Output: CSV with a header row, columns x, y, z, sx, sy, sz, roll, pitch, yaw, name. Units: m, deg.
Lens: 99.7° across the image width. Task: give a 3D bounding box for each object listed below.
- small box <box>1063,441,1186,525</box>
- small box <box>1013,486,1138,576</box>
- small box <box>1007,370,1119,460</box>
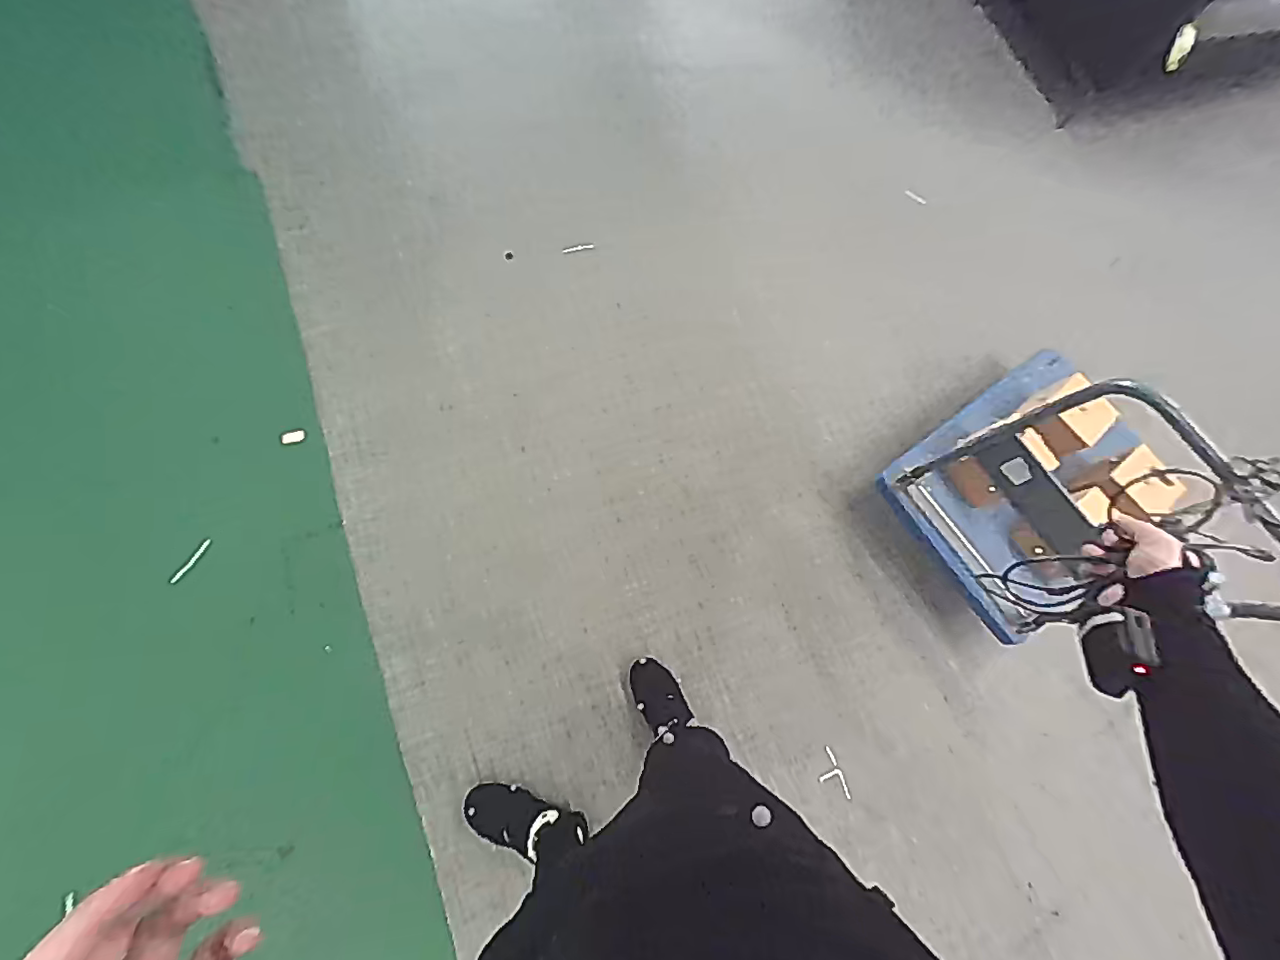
x,y,z,sx,sy,sz,roll,pitch,yaw,name
1.375,0.022,1.546,0.179,0.176,0.168,-34,80,-17,small box
1.176,0.143,1.474,0.179,0.176,0.168,-31,80,-17,small box
1.228,-0.184,1.588,0.179,0.176,0.168,-36,82,-19,small box
